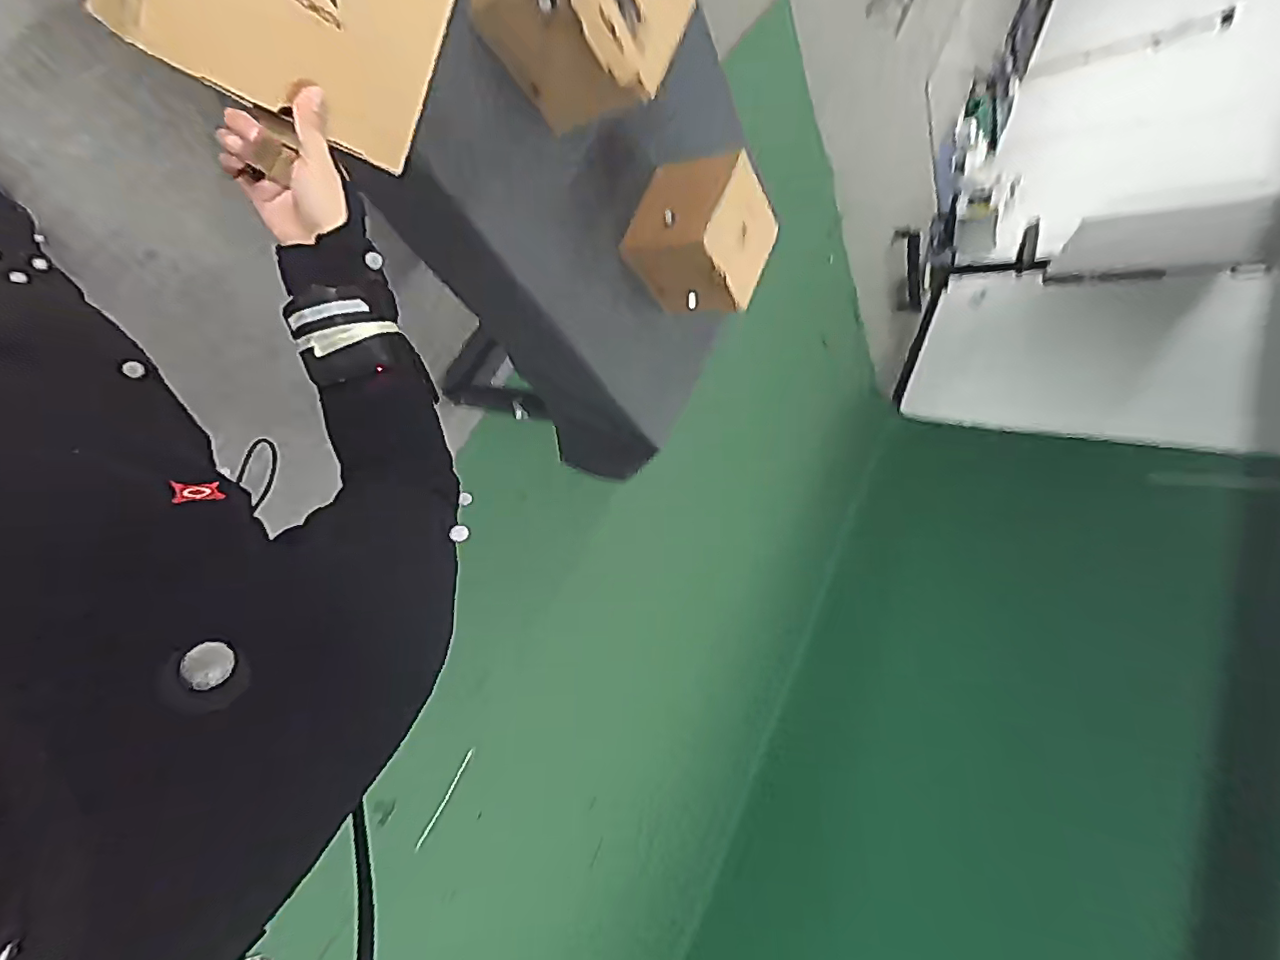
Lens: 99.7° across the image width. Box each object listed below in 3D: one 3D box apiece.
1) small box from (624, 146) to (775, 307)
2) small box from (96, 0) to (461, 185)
[{"bbox_3d":[0.096,-0.406,0.898,0.168,0.176,0.179,38,70,-50],"label":"small box"},{"bbox_3d":[-0.258,-0.358,0.389,0.168,0.176,0.179,0,124,-54],"label":"small box"}]
